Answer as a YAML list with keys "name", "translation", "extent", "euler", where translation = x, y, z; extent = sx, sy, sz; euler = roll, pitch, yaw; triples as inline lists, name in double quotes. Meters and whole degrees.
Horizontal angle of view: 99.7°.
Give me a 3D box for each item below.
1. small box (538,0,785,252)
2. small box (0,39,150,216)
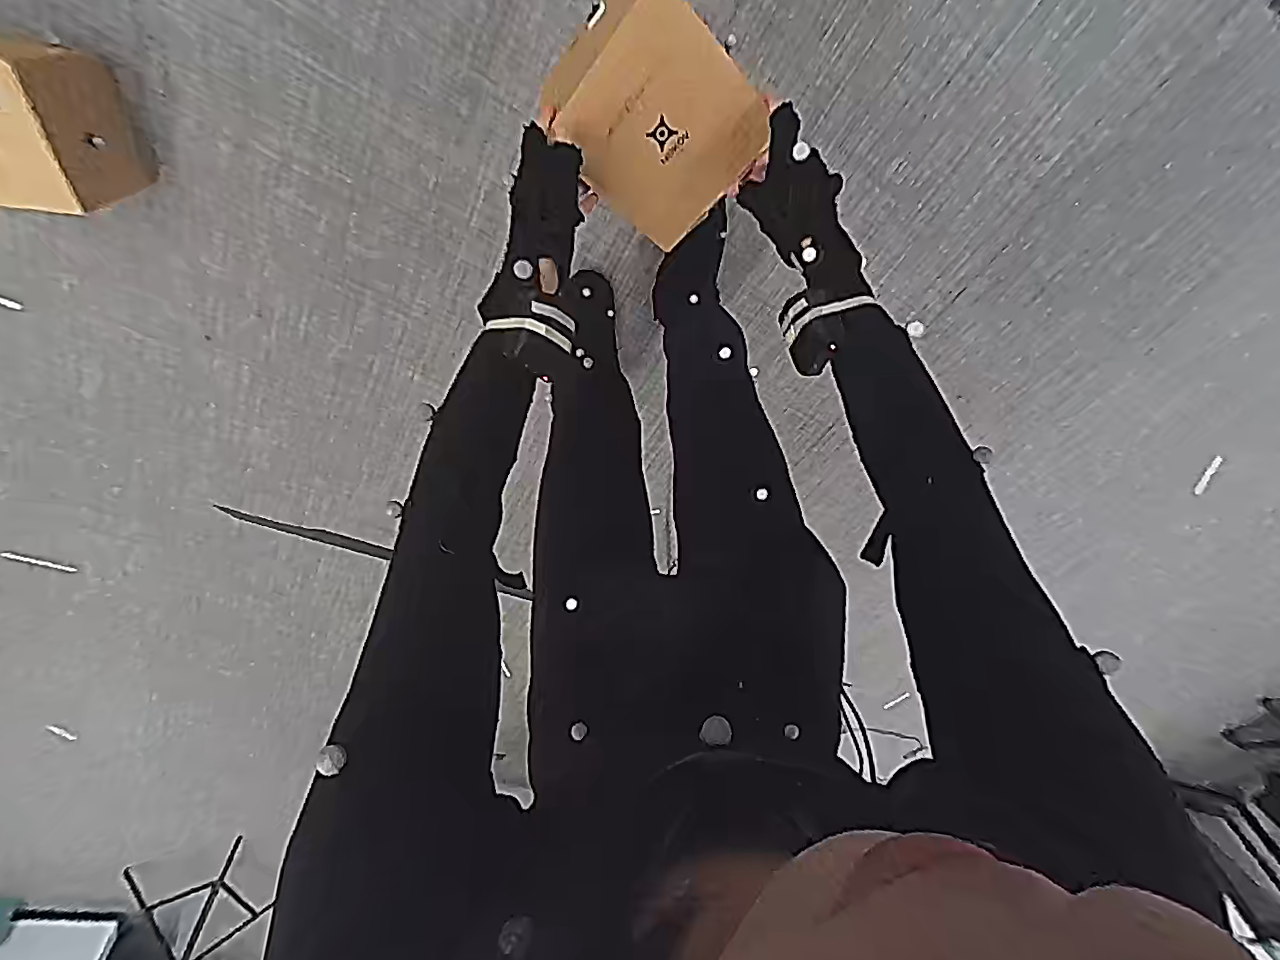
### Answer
- name: "small box"
  translation: [0.014, -0.383, 0.552]
  extent: [0.179, 0.176, 0.168]
  euler: [27, 128, -34]
- name: "small box"
  translation: [-0.843, -0.489, 0.742]
  extent: [0.168, 0.176, 0.179]
  euler: [3, 131, -8]
